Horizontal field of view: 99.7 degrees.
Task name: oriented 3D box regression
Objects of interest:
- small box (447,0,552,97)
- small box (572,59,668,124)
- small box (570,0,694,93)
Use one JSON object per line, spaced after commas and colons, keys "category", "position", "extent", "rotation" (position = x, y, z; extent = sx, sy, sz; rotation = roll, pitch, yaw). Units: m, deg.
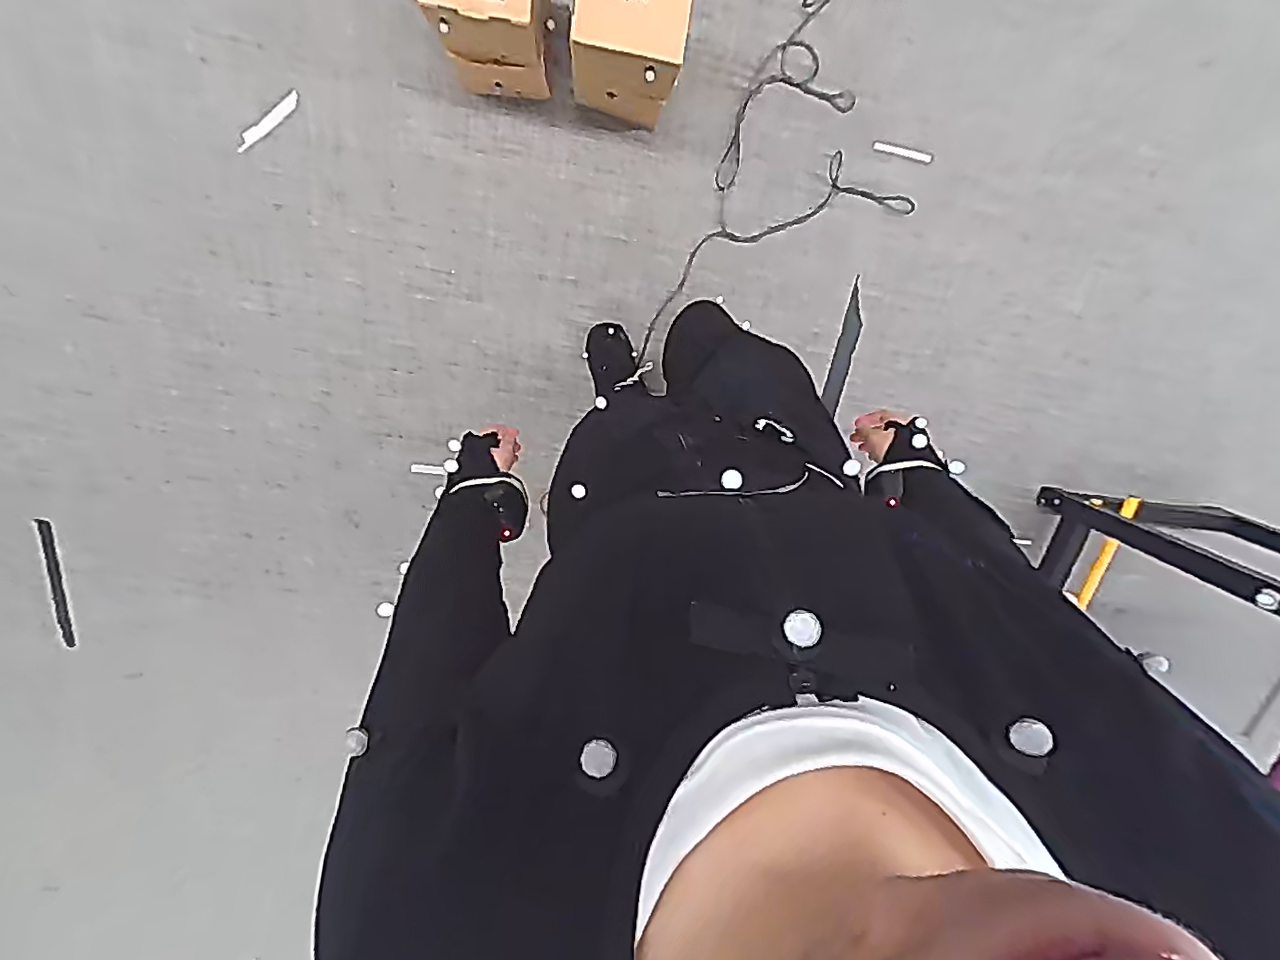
{"category": "small box", "position": [-0.252, -0.837, 0.989], "extent": [0.168, 0.176, 0.179], "rotation": [1, 110, -6]}
{"category": "small box", "position": [-0.022, -0.804, 1.017], "extent": [0.179, 0.176, 0.168], "rotation": [13, 108, -10]}
{"category": "small box", "position": [-0.011, -0.749, 0.862], "extent": [0.179, 0.176, 0.168], "rotation": [8, 108, -7]}
